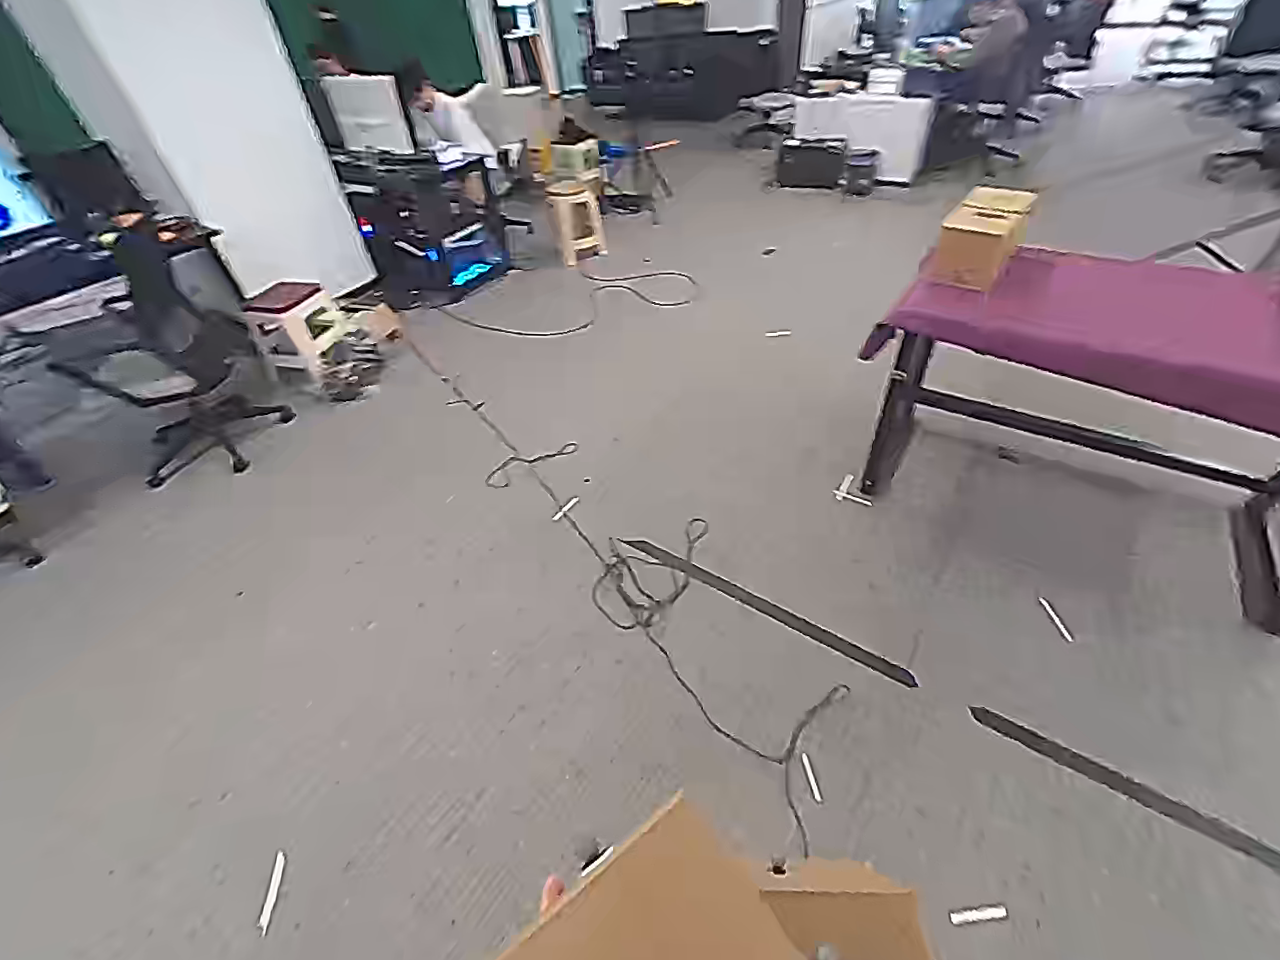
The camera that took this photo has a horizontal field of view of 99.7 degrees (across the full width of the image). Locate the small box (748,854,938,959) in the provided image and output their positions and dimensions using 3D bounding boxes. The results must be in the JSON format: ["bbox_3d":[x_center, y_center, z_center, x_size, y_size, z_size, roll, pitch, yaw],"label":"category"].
[{"bbox_3d":[0.106,0.381,0.392,0.179,0.176,0.168,-1,61,4],"label":"small box"}]

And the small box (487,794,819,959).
[{"bbox_3d":[0.019,0.285,0.267,0.168,0.176,0.179,-34,63,-15],"label":"small box"}]

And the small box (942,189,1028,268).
[{"bbox_3d":[1.088,-0.798,1.716,0.168,0.176,0.179,26,53,30],"label":"small box"}]
